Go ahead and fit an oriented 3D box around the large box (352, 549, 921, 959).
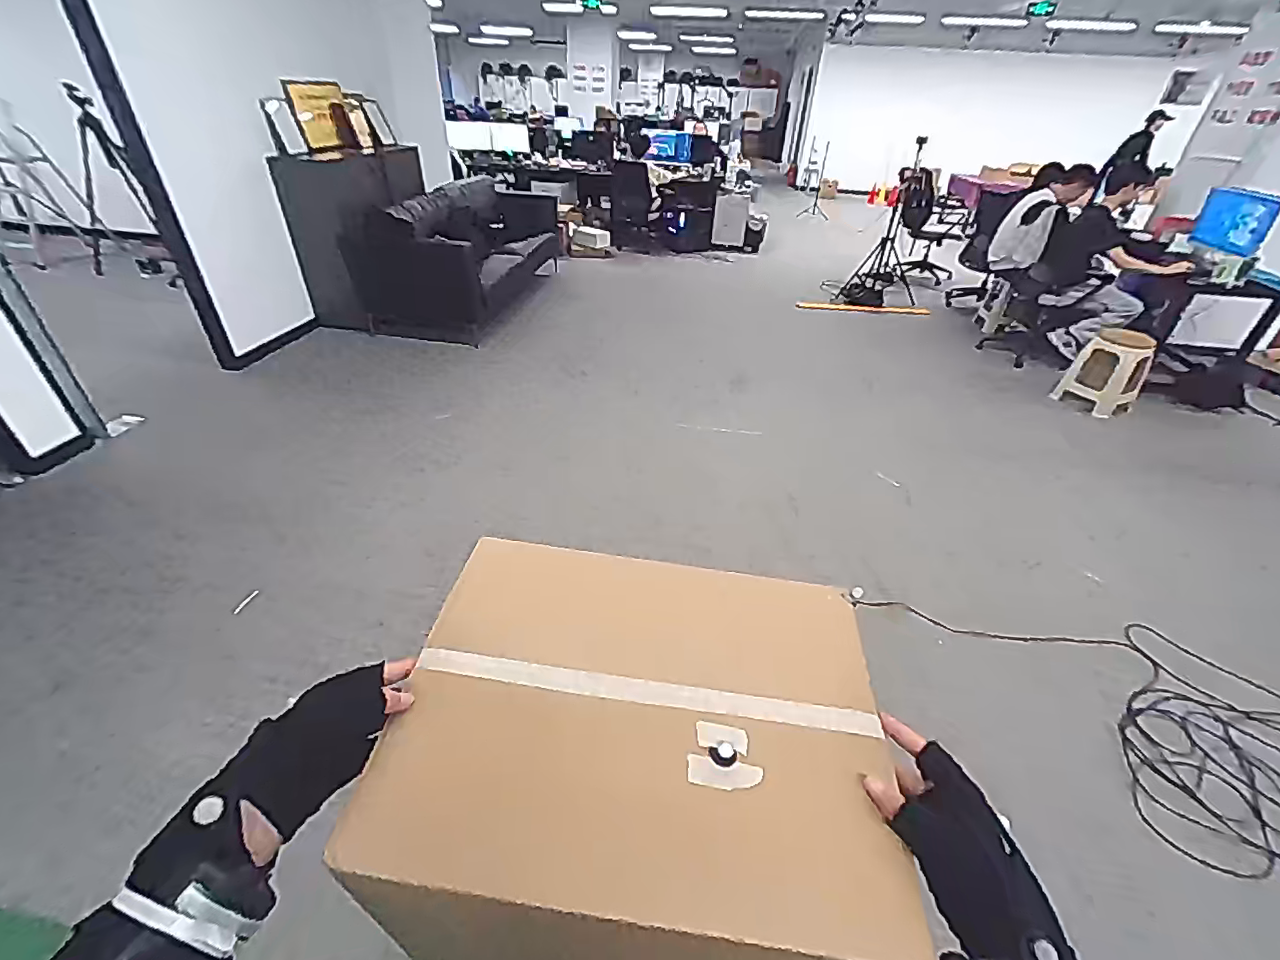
[{"bbox_3d":[-0.002,0.308,0.575,0.408,0.320,0.320,7,39,3],"label":"large box"}]
